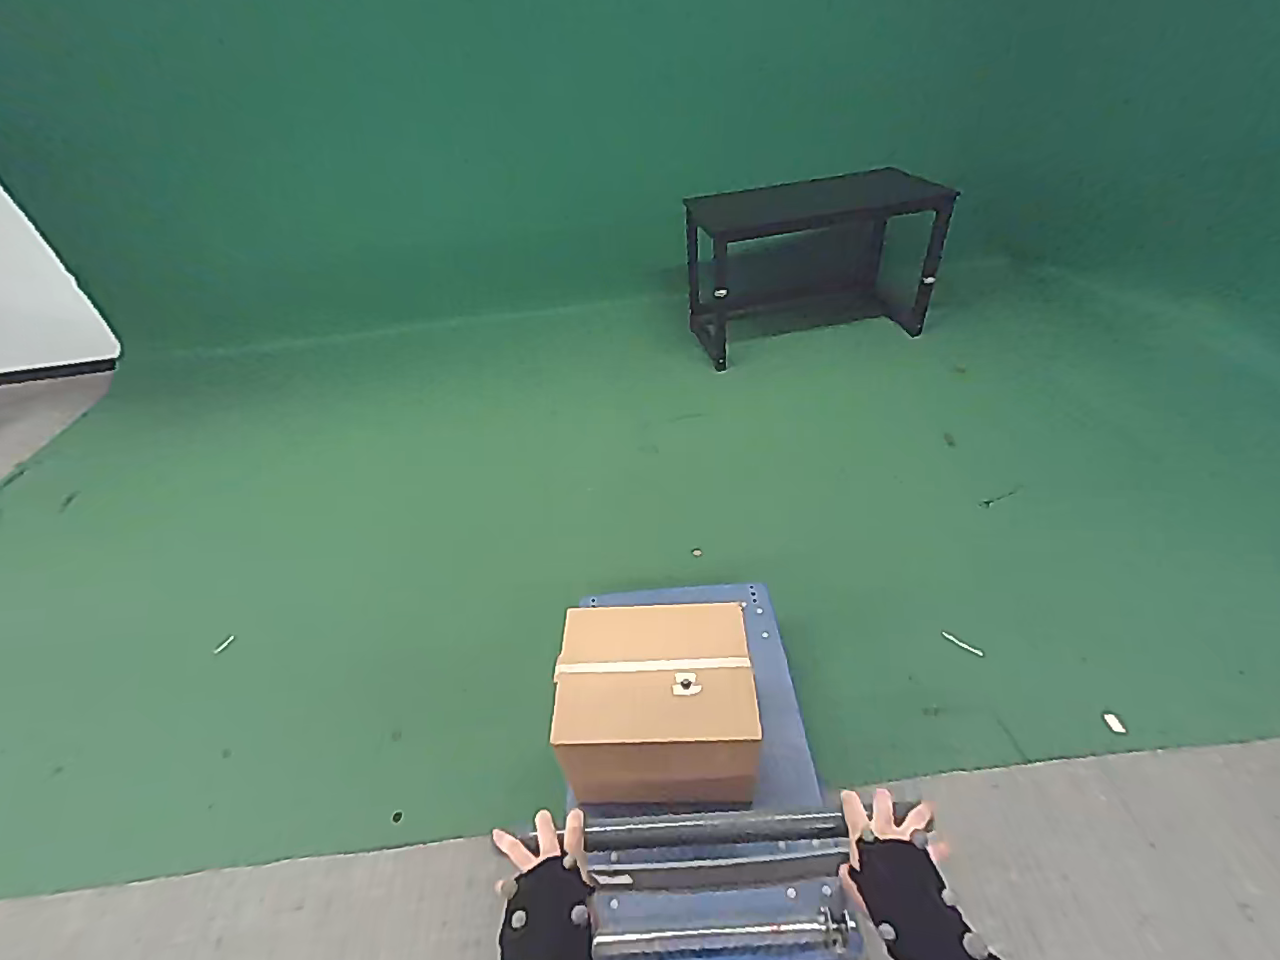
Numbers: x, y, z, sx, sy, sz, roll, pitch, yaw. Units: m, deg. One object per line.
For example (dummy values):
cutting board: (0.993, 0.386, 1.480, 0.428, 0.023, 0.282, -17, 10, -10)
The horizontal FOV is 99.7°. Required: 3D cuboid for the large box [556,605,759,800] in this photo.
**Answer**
large box: (0.040, 0.513, 1.251, 0.408, 0.320, 0.320, -2, 41, 3)
